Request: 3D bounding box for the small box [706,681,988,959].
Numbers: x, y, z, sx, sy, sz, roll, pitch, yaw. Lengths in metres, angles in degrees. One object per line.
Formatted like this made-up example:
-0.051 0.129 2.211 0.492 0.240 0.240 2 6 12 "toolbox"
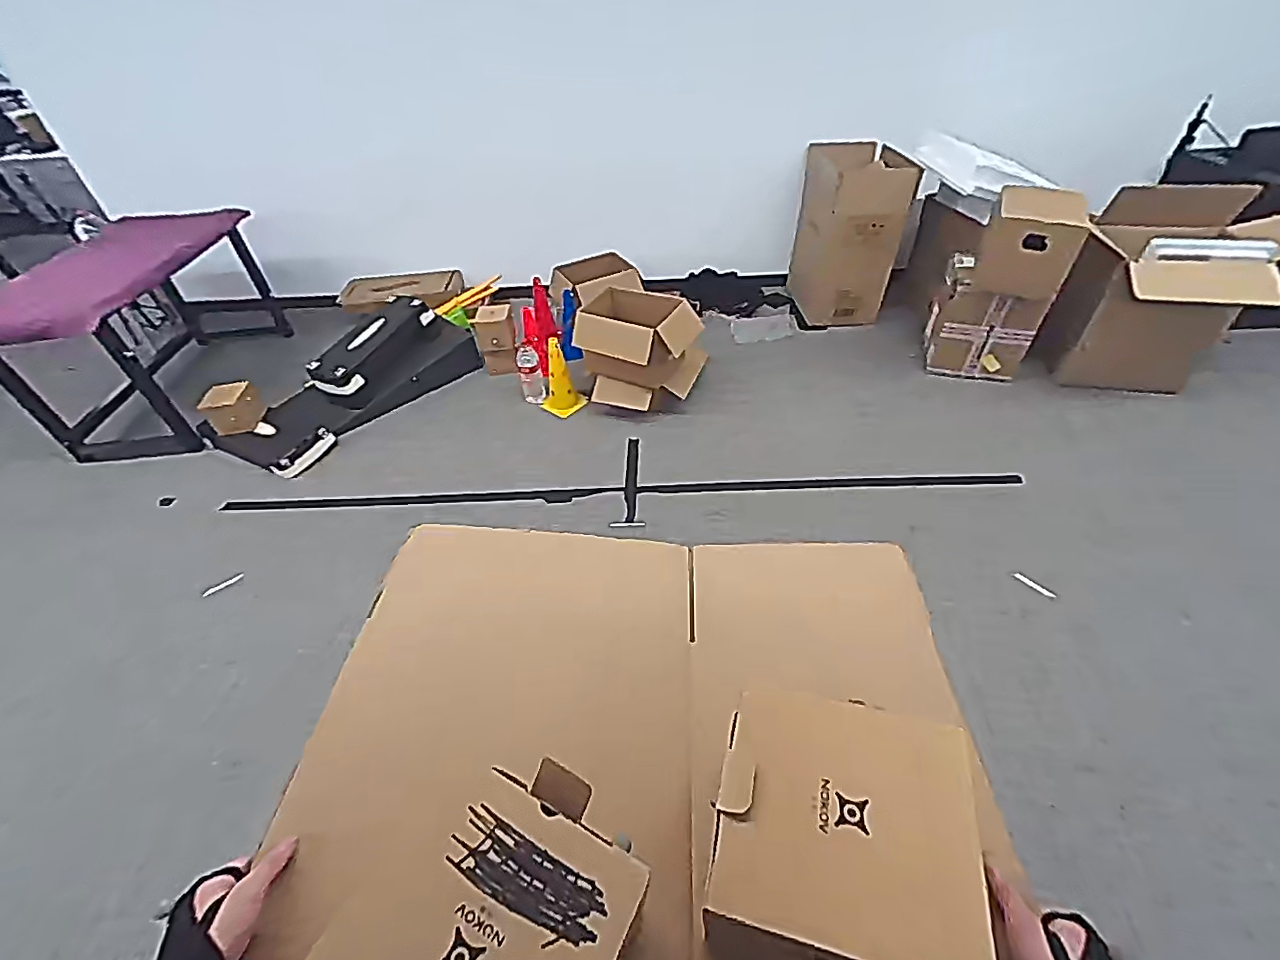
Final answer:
0.158 0.299 0.454 0.179 0.176 0.168 6 46 16 "small box"
